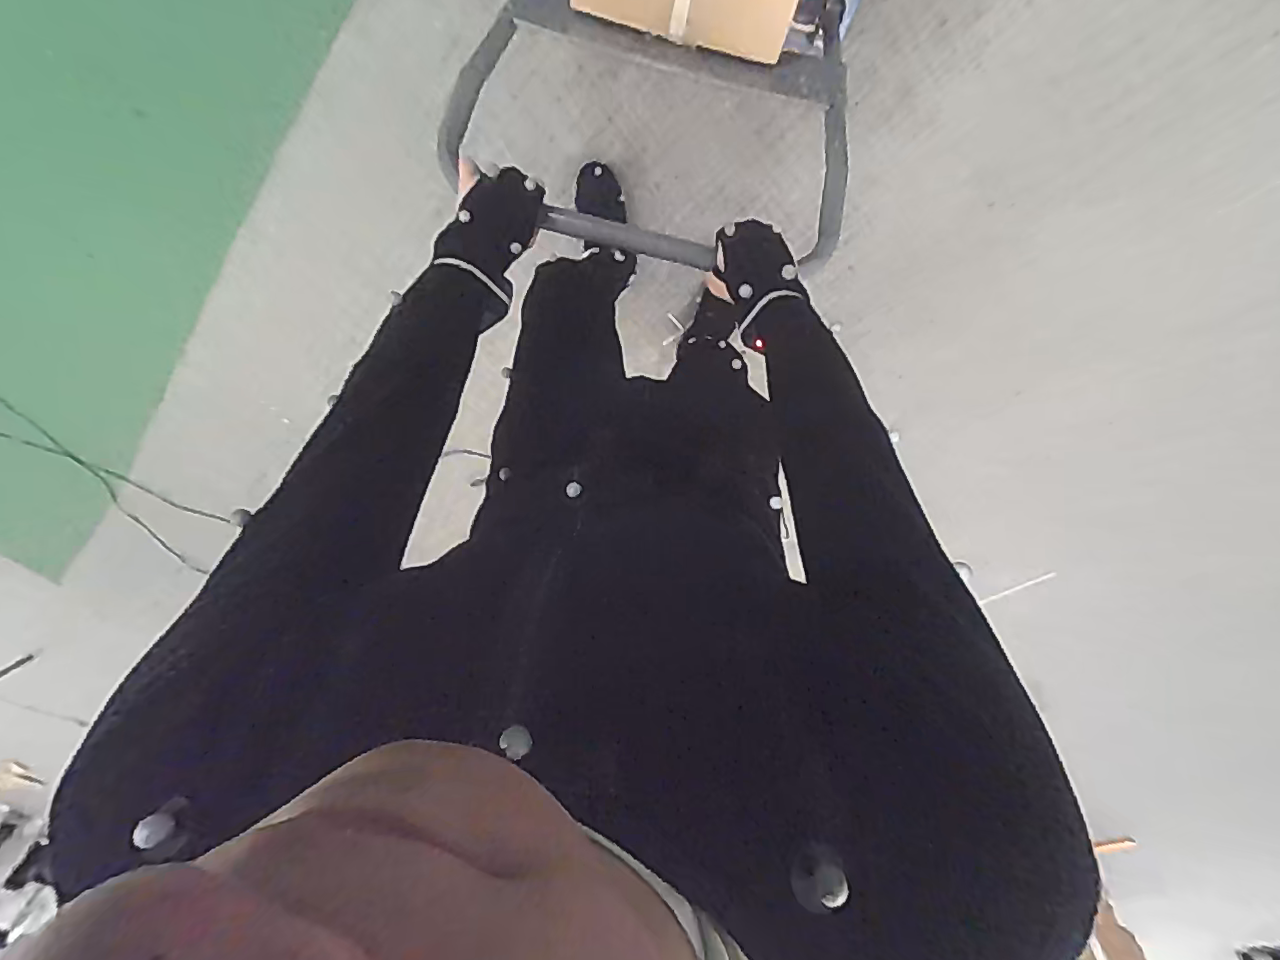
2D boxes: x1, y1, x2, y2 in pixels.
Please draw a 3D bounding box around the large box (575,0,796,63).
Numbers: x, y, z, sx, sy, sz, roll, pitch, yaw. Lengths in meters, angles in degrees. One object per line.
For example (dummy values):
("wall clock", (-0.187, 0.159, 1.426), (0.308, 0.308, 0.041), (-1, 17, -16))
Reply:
("large box", (0.111, -0.883, 0.722), (0.320, 0.320, 0.408), (14, 146, -4))
